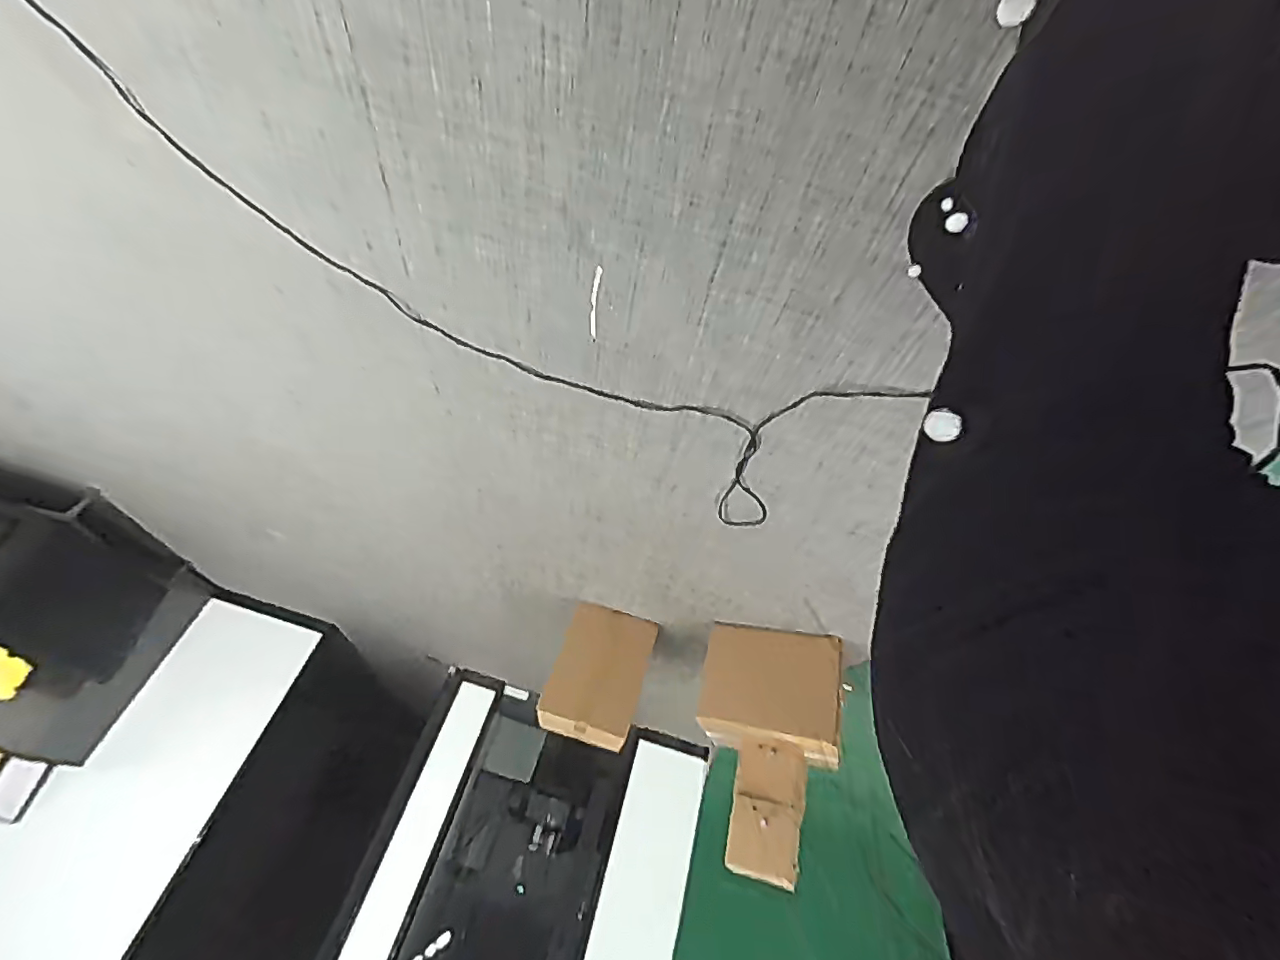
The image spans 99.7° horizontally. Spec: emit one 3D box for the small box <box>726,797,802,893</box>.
[{"bbox_3d":[0.345,0.995,1.477,0.168,0.176,0.179,1,140,24],"label":"small box"}]

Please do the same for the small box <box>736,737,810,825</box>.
[{"bbox_3d":[0.394,0.875,1.579,0.168,0.176,0.179,-2,140,28],"label":"small box"}]
